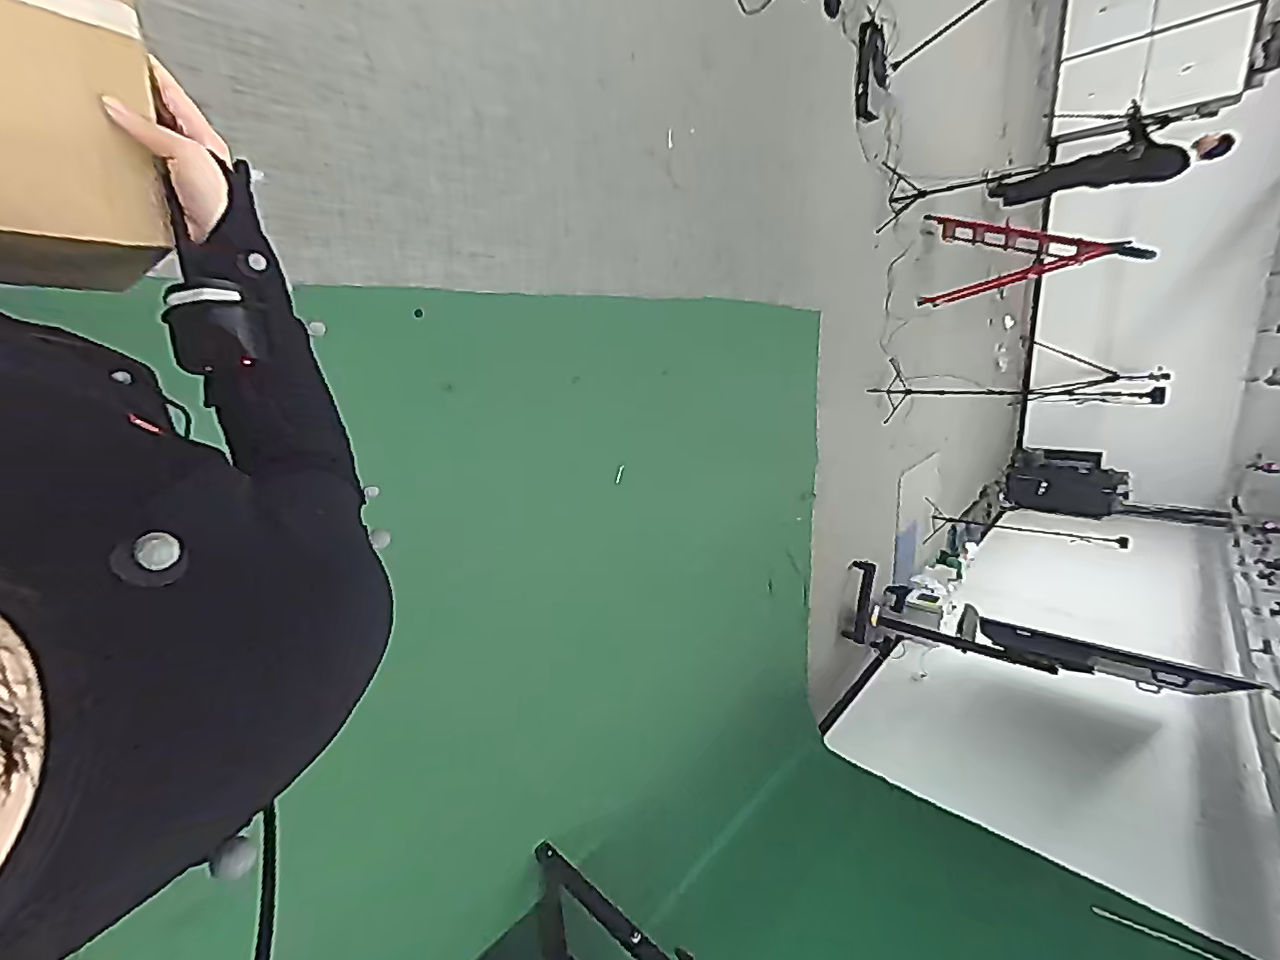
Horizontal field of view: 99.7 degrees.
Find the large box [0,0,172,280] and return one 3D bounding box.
[{"bbox_3d":[-0.624,-0.325,0.353,0.408,0.320,0.320,-15,109,-48],"label":"large box"}]
